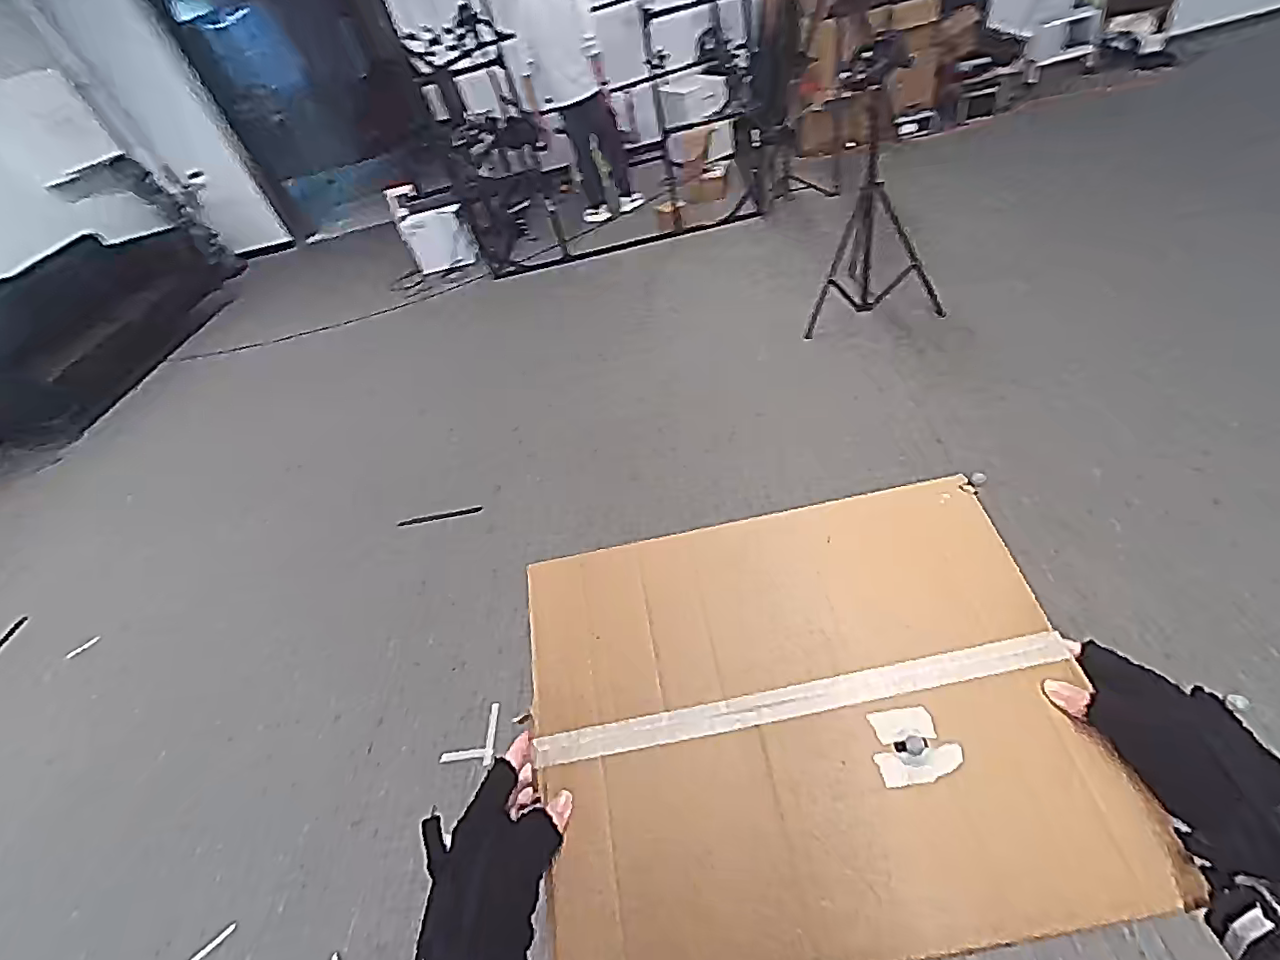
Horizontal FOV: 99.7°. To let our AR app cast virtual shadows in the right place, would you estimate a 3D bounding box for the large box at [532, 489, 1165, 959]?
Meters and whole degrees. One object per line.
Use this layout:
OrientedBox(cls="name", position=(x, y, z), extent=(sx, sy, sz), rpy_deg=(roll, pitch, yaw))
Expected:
OrientedBox(cls="large box", position=(0.136, 0.256, 0.551), extent=(0.408, 0.320, 0.320), rpy_deg=(-13, 58, 0))
